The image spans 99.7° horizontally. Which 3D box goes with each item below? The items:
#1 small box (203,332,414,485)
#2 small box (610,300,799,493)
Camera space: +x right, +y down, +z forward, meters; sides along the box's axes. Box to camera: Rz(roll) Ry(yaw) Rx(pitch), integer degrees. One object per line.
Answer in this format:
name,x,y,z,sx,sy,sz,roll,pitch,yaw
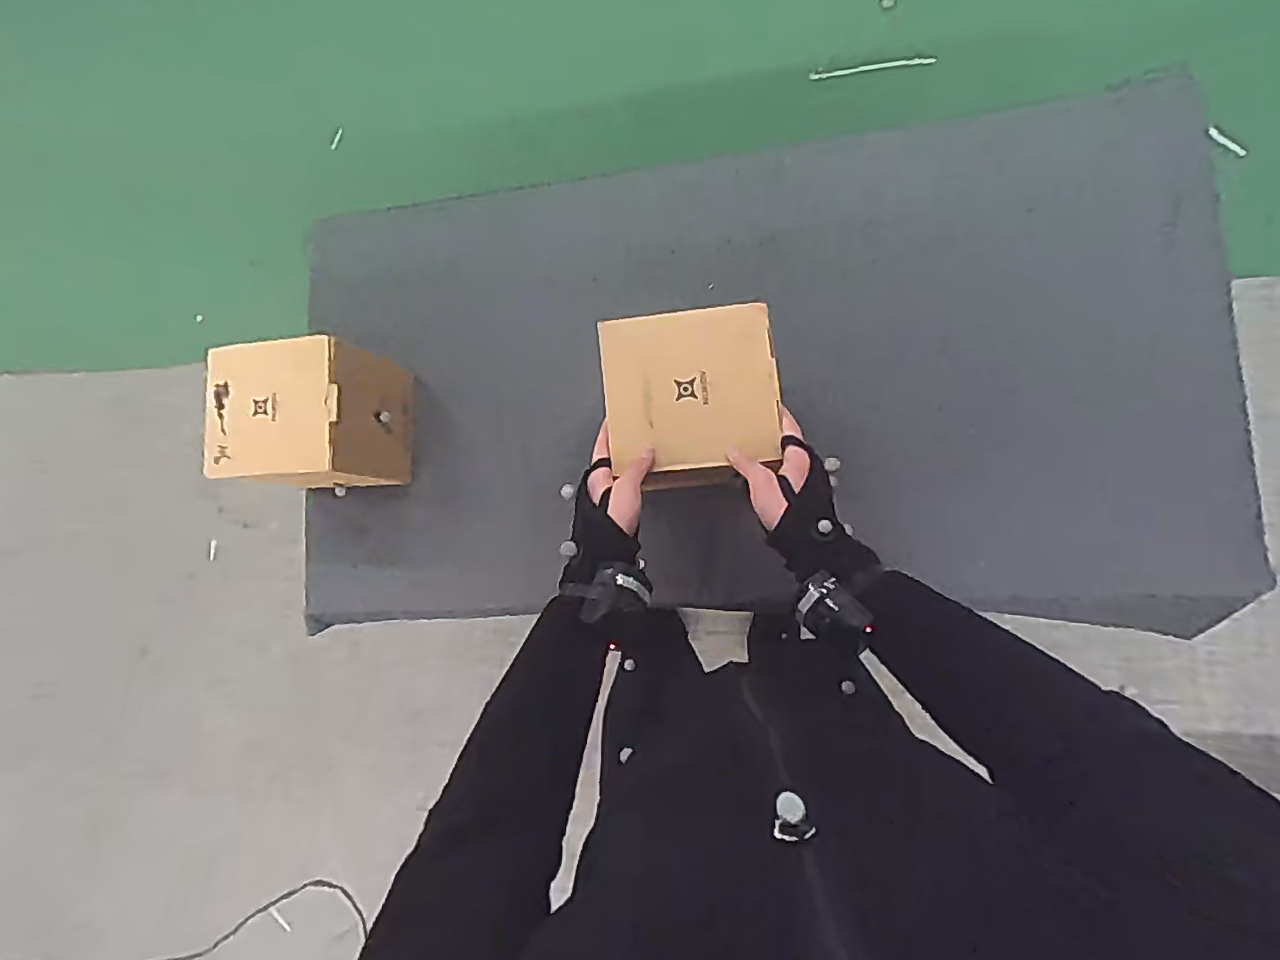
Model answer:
small box,-0.421,-0.084,0.715,0.179,0.176,0.168,-2,83,8
small box,0.068,-0.082,0.615,0.179,0.176,0.168,-6,80,5
